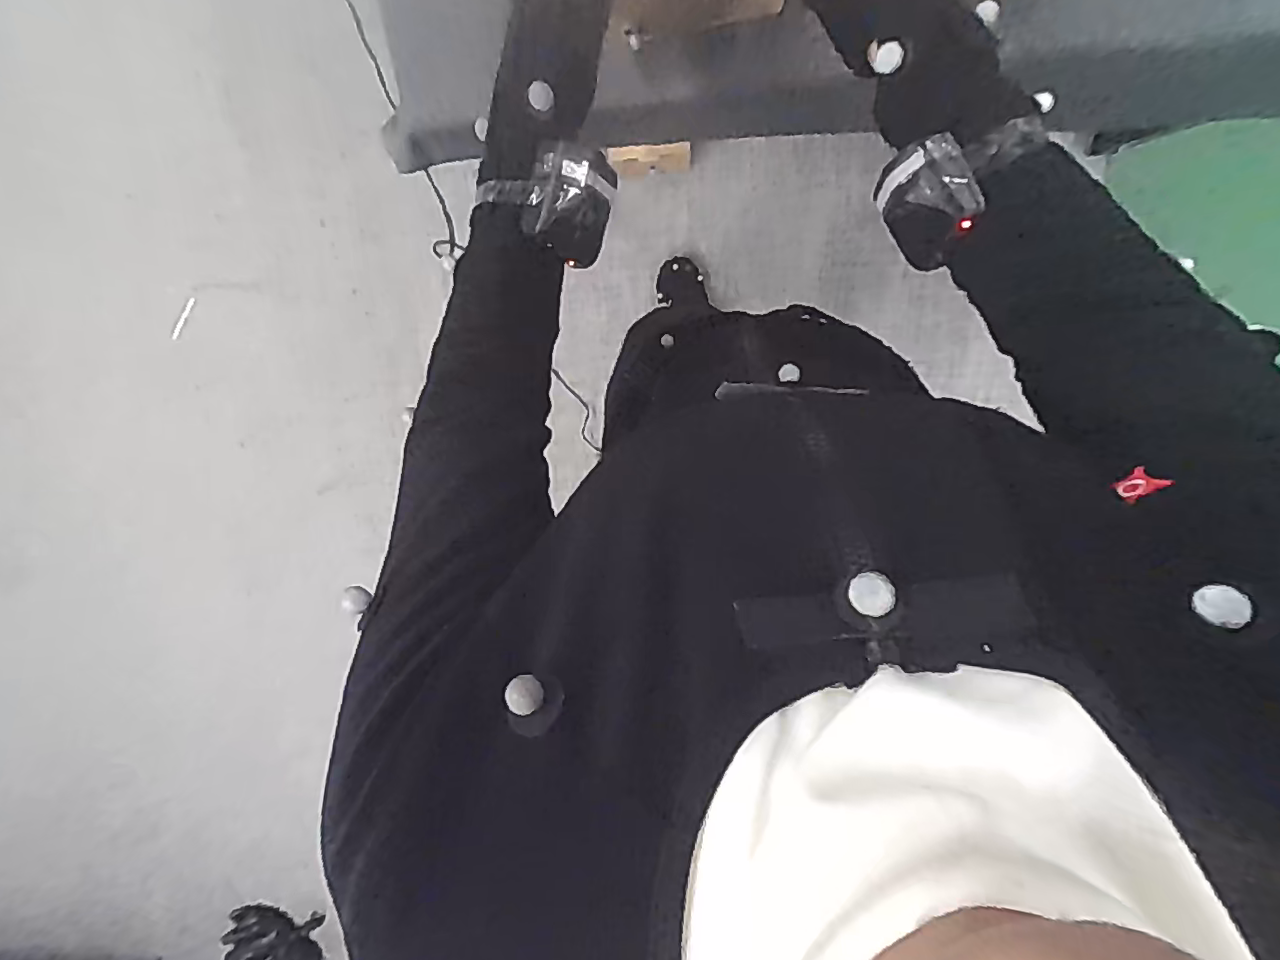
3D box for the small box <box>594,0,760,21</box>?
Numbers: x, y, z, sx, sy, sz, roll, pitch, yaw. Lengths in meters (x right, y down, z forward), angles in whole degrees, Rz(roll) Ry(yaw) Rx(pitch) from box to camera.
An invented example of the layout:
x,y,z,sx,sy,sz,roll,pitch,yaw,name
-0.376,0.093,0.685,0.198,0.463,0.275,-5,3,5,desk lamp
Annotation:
x,y,z,sx,sy,sz,roll,pitch,yaw,name
0.028,-0.477,0.396,0.168,0.176,0.179,-6,110,5,small box
